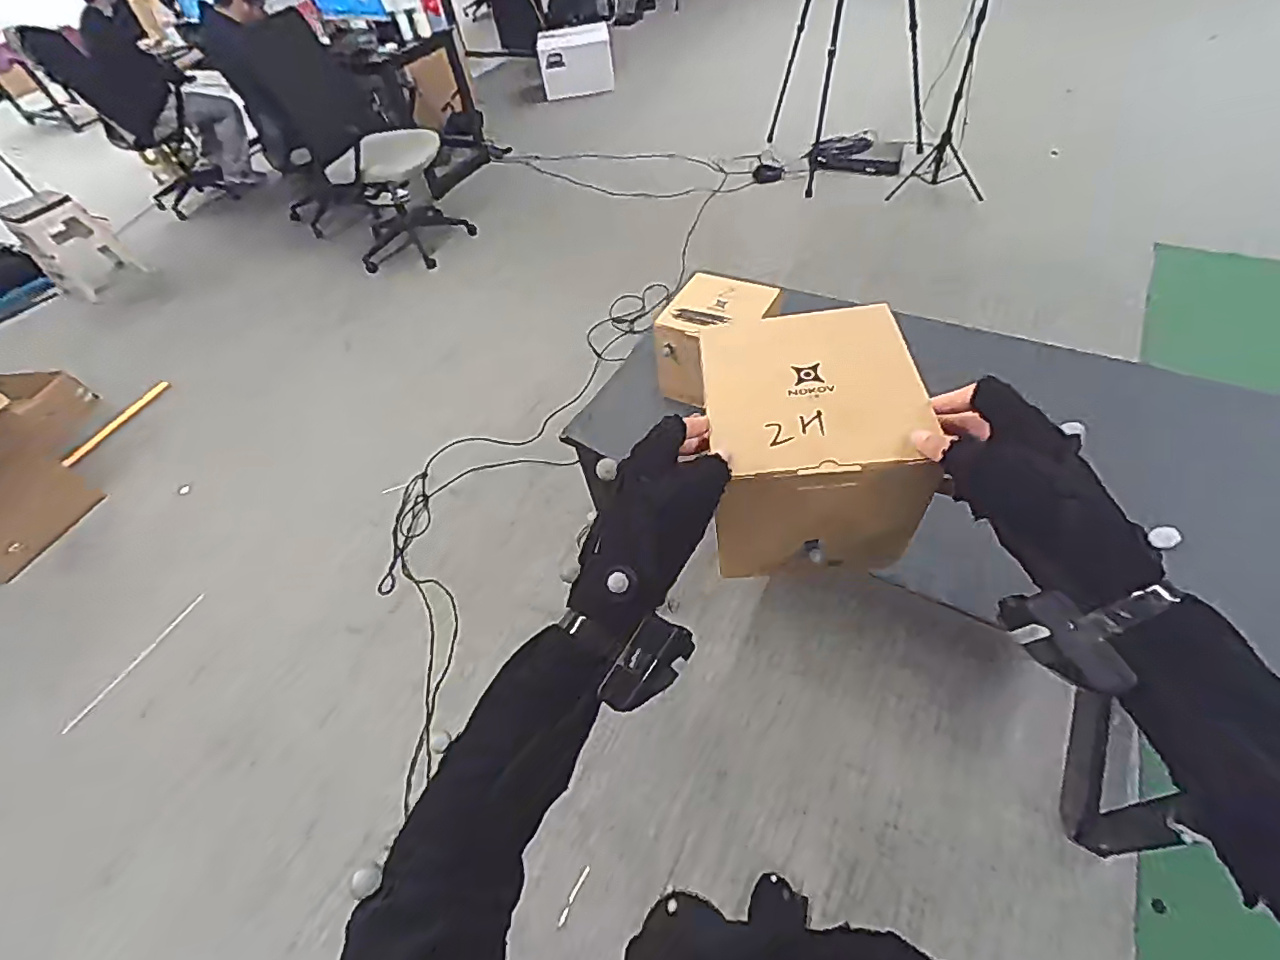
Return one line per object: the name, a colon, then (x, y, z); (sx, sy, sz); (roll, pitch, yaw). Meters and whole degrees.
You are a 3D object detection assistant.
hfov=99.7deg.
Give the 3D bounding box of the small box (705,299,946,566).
small box: (0.147, -0.037, 0.499); (0.168, 0.176, 0.179); (-4, 55, 8)
